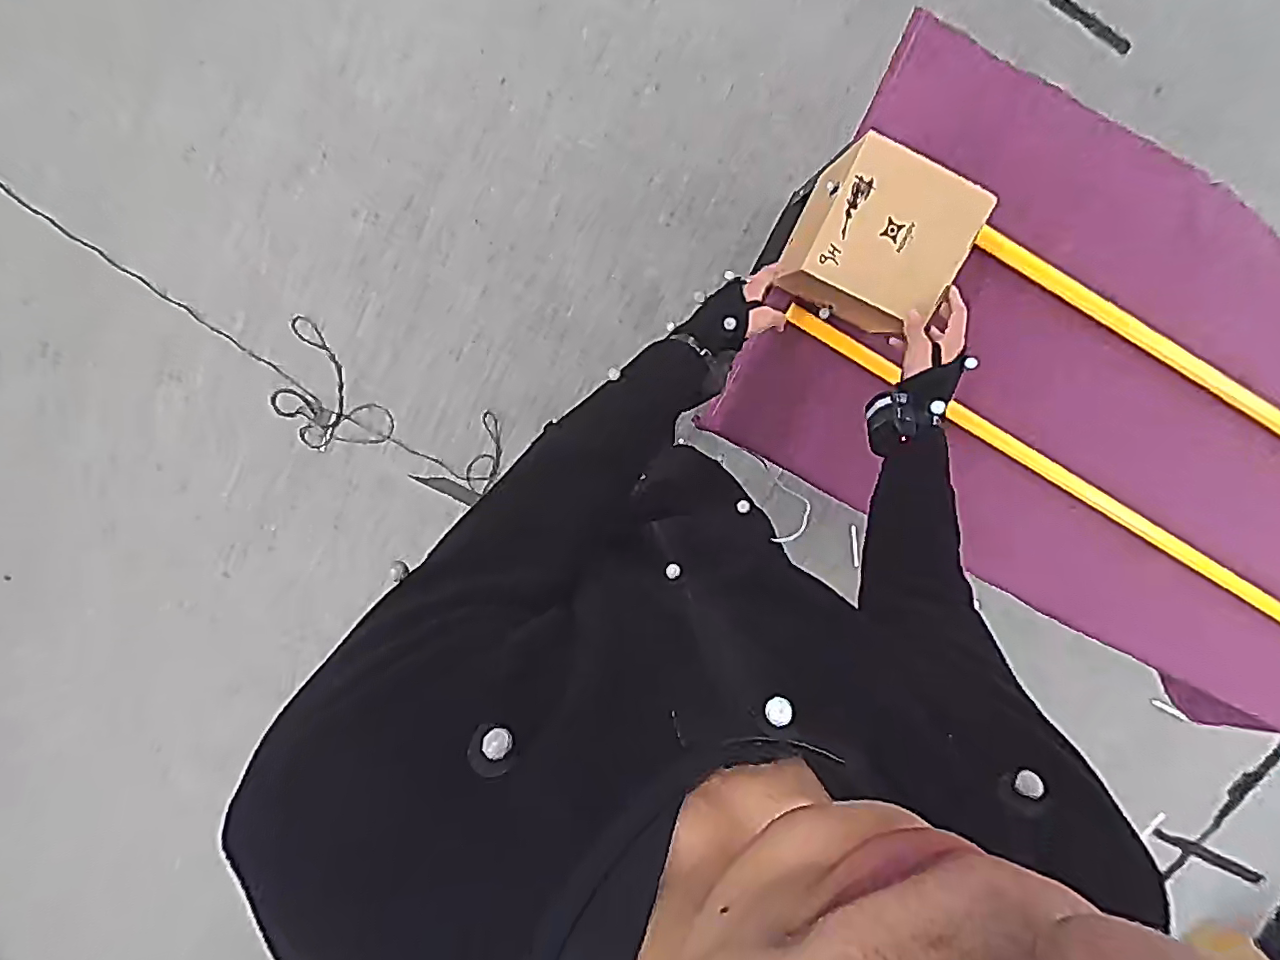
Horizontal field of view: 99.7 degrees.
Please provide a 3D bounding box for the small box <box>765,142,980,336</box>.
[{"bbox_3d":[0.298,-0.312,0.733,0.179,0.176,0.168,24,104,-7],"label":"small box"}]
